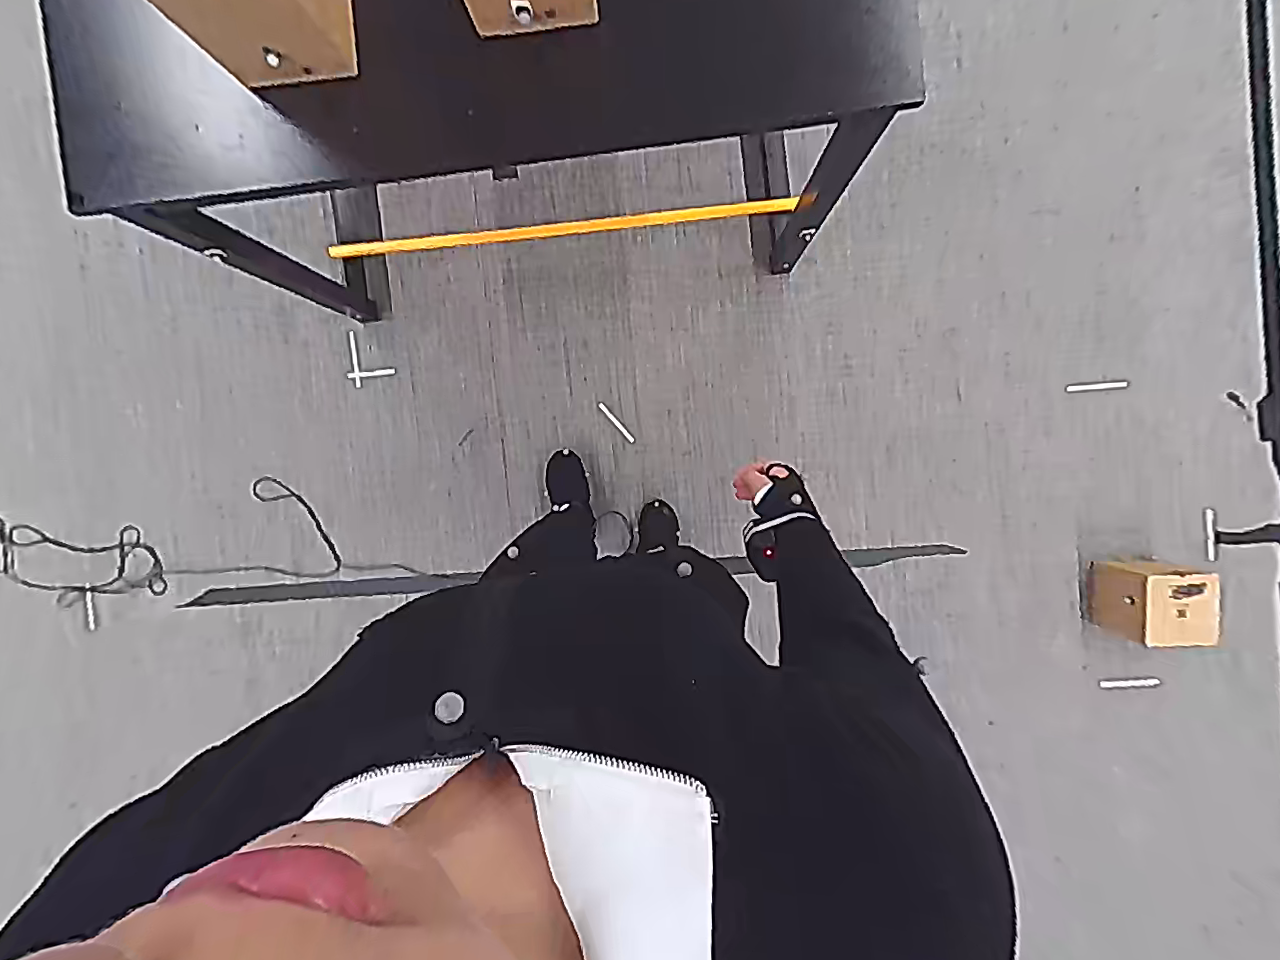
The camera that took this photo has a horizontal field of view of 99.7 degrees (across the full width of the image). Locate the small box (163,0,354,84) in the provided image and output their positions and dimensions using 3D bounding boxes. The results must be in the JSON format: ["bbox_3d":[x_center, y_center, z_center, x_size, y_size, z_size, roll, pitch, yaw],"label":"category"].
[{"bbox_3d":[-0.481,-0.639,0.667,0.168,0.176,0.179,-4,92,3],"label":"small box"}]

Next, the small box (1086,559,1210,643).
[{"bbox_3d":[1.278,0.298,1.371,0.168,0.176,0.179,-2,94,3],"label":"small box"}]

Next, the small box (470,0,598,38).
[{"bbox_3d":[-0.148,-0.693,0.653,0.168,0.176,0.179,-6,93,4],"label":"small box"}]
